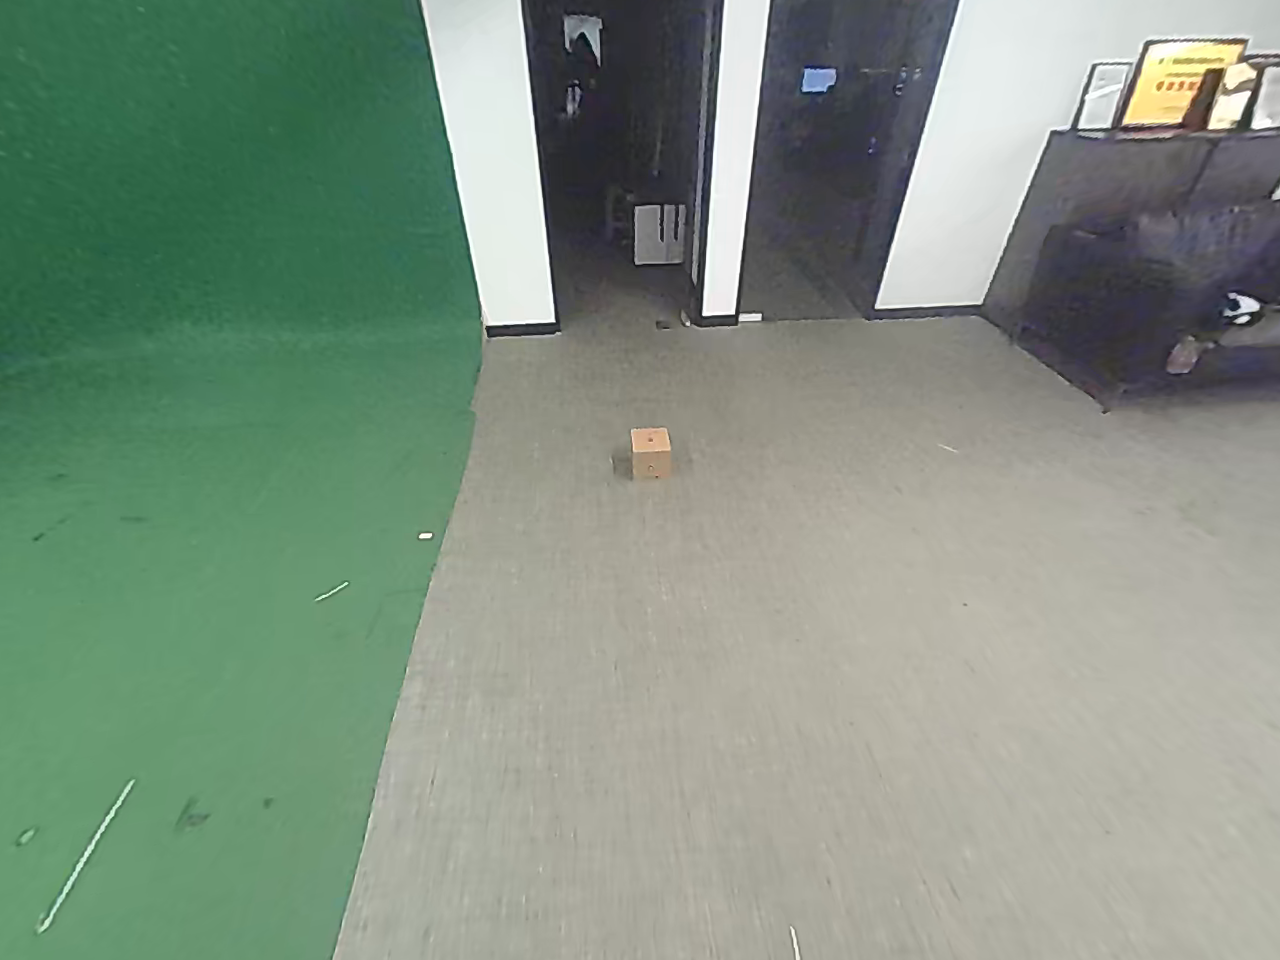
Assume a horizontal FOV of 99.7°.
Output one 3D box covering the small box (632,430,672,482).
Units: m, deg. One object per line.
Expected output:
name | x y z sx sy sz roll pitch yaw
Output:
small box | 0.052 -0.101 2.412 0.168 0.176 0.179 -2 40 -3
